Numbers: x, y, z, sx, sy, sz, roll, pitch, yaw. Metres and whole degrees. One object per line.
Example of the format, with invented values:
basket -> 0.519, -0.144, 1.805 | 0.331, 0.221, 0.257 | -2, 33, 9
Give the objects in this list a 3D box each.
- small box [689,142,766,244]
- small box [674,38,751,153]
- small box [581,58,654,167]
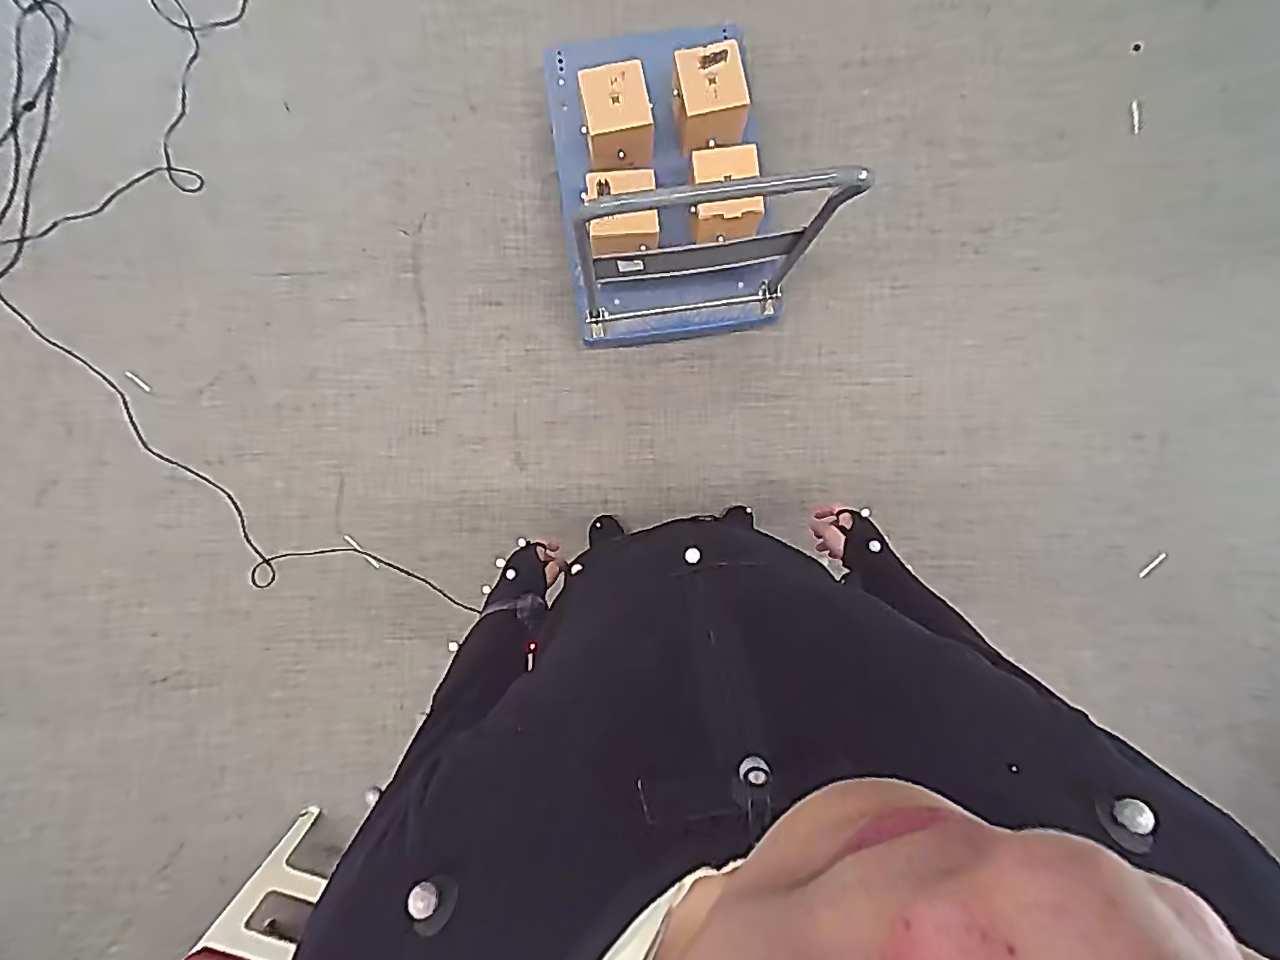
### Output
small box -> 0.227, -0.761, 1.447 | 0.168, 0.176, 0.179 | -7, 88, 0
small box -> 0.189, -1.029, 1.459 | 0.168, 0.176, 0.179 | -11, 88, 1
small box -> -0.057, -0.977, 1.458 | 0.168, 0.176, 0.179 | -11, 87, -1
